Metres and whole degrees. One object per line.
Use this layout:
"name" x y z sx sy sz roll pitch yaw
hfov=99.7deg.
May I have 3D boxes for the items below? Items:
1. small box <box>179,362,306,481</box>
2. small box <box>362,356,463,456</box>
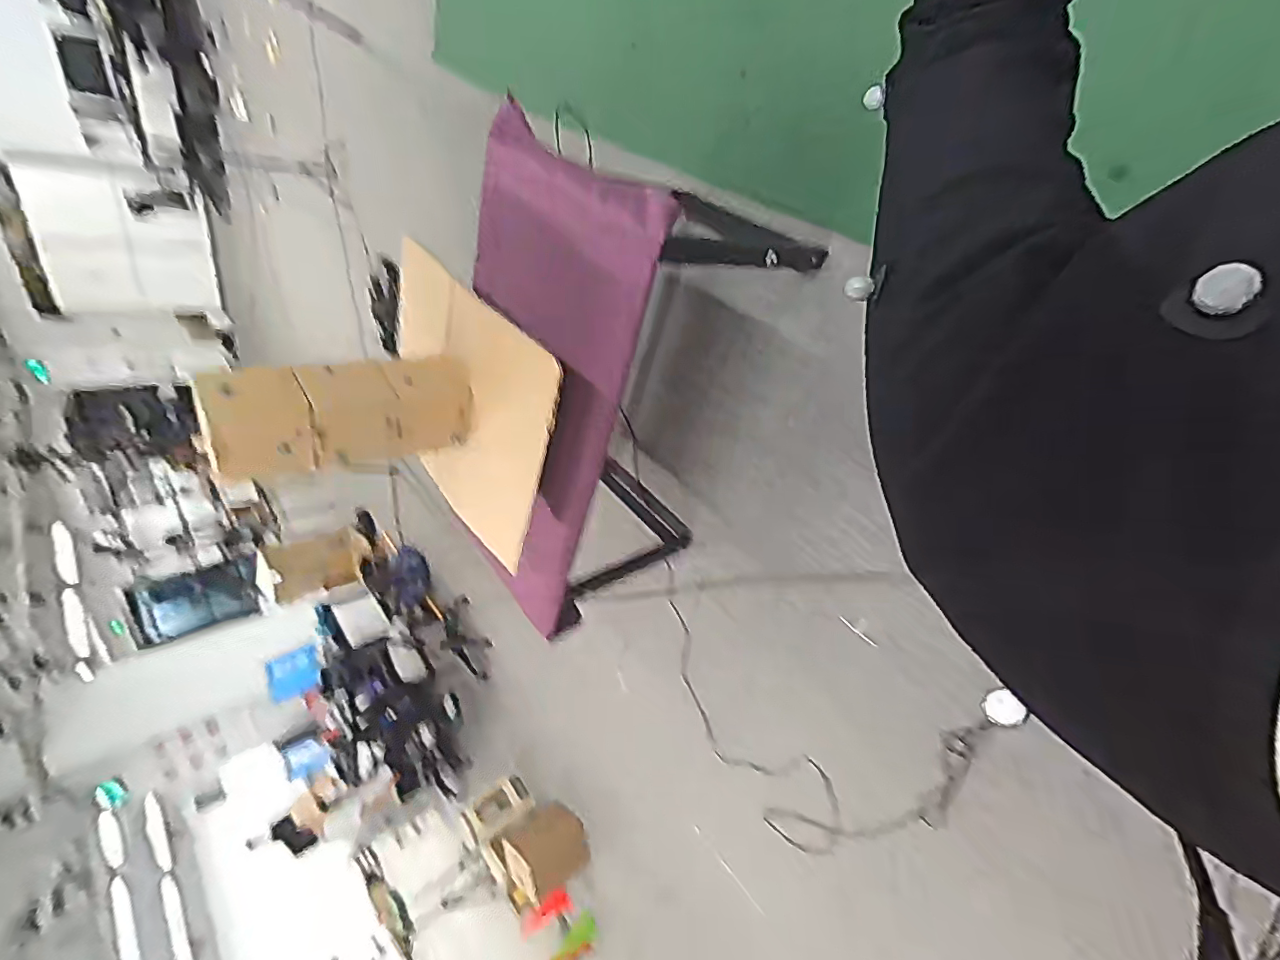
"small box" -0.781 -0.123 1.072 0.179 0.176 0.168 44 130 31
"small box" -0.537 -0.184 1.284 0.179 0.176 0.168 41 130 30
